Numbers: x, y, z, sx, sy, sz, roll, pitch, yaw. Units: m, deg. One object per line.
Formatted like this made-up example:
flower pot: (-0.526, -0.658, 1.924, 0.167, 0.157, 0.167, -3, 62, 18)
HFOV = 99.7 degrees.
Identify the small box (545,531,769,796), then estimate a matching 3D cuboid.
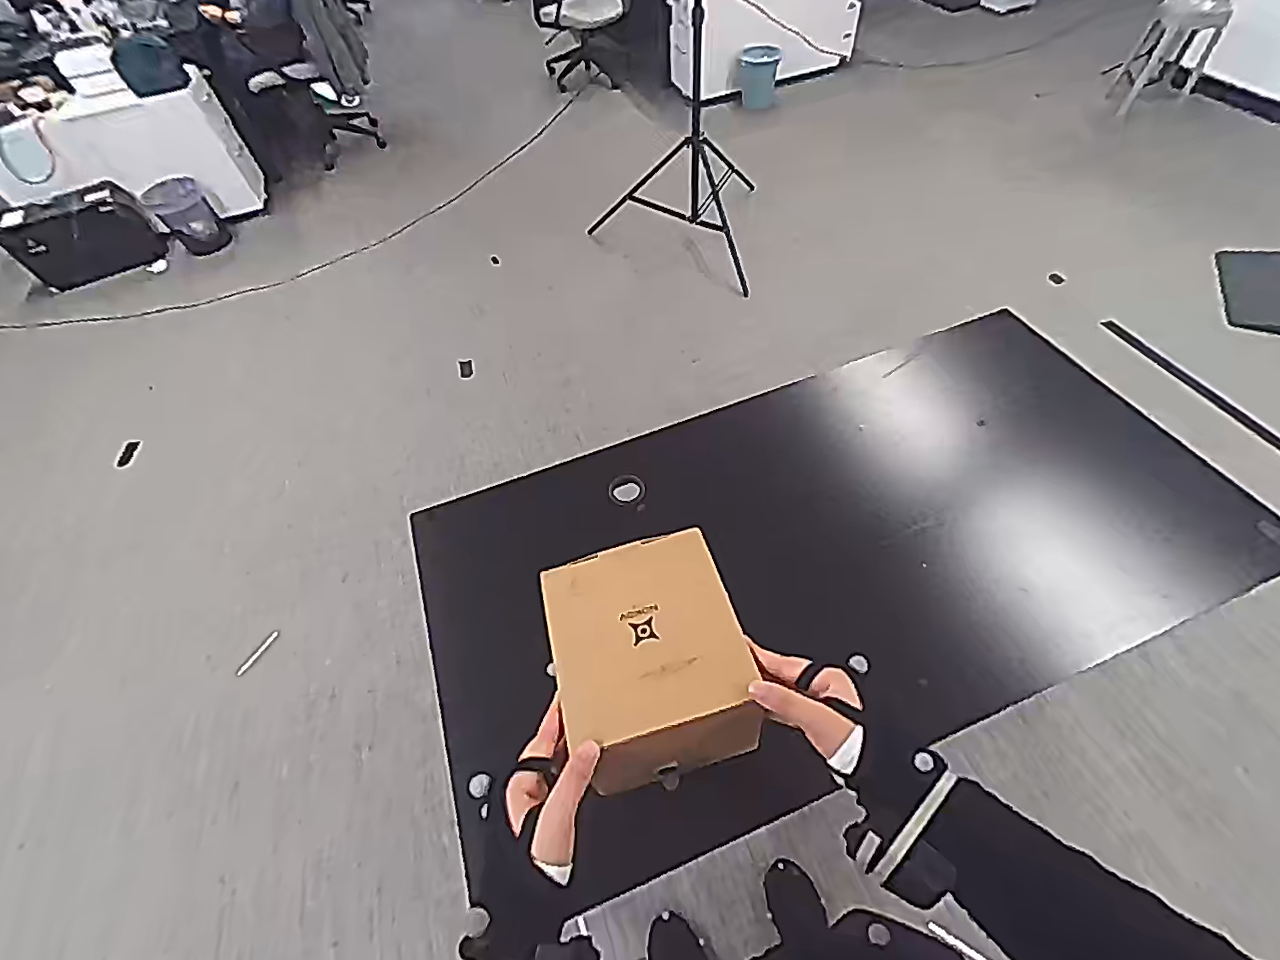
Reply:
small box: (0.013, 0.184, 0.537, 0.168, 0.176, 0.179, -15, 51, -4)
